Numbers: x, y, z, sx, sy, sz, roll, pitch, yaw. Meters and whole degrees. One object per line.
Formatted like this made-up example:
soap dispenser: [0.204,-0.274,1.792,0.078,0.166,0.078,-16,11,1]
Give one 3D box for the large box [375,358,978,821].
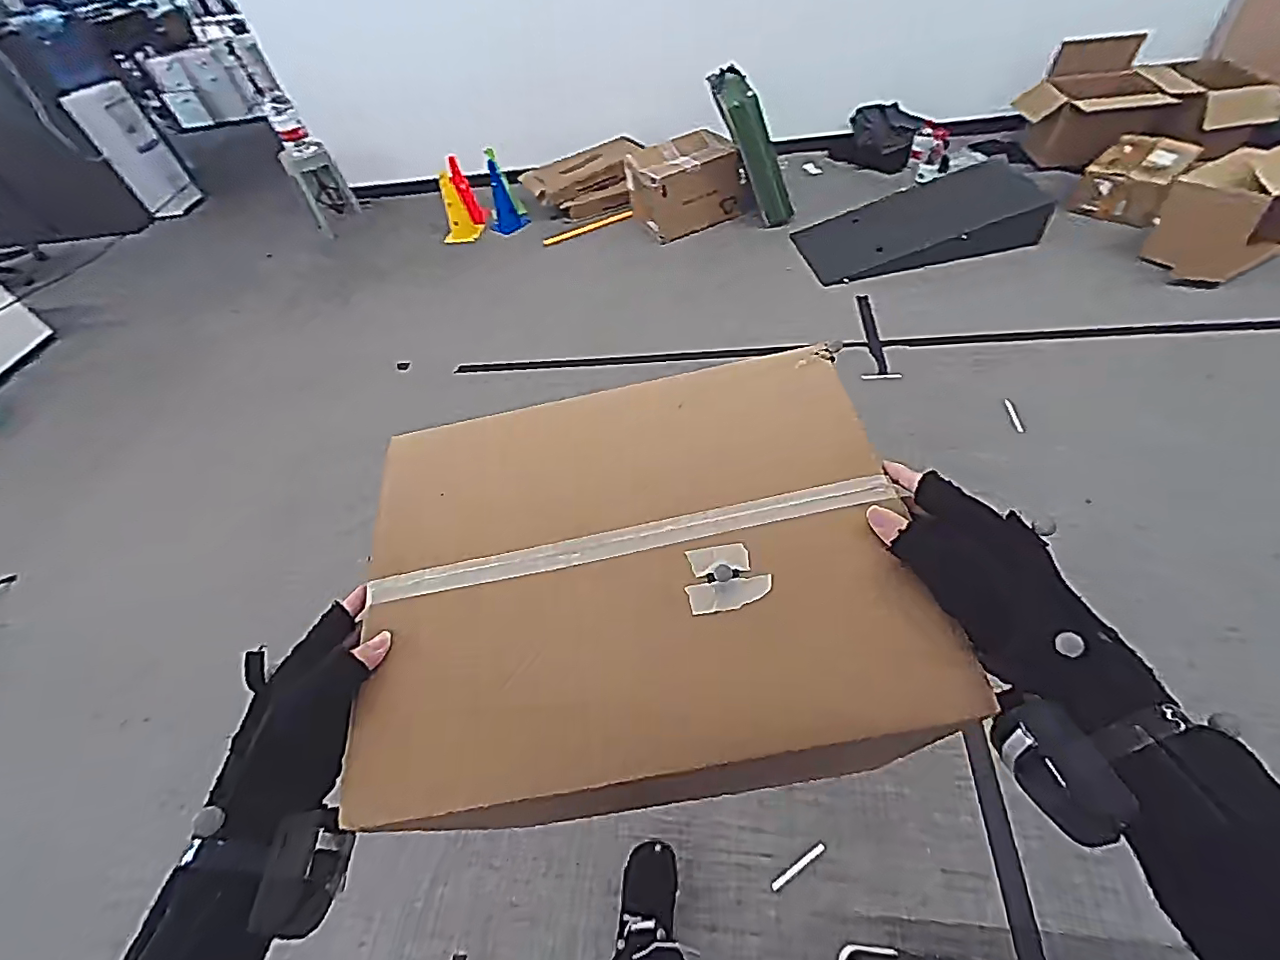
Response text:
large box: [0.018,0.131,0.548,0.408,0.320,0.320,-11,57,3]
